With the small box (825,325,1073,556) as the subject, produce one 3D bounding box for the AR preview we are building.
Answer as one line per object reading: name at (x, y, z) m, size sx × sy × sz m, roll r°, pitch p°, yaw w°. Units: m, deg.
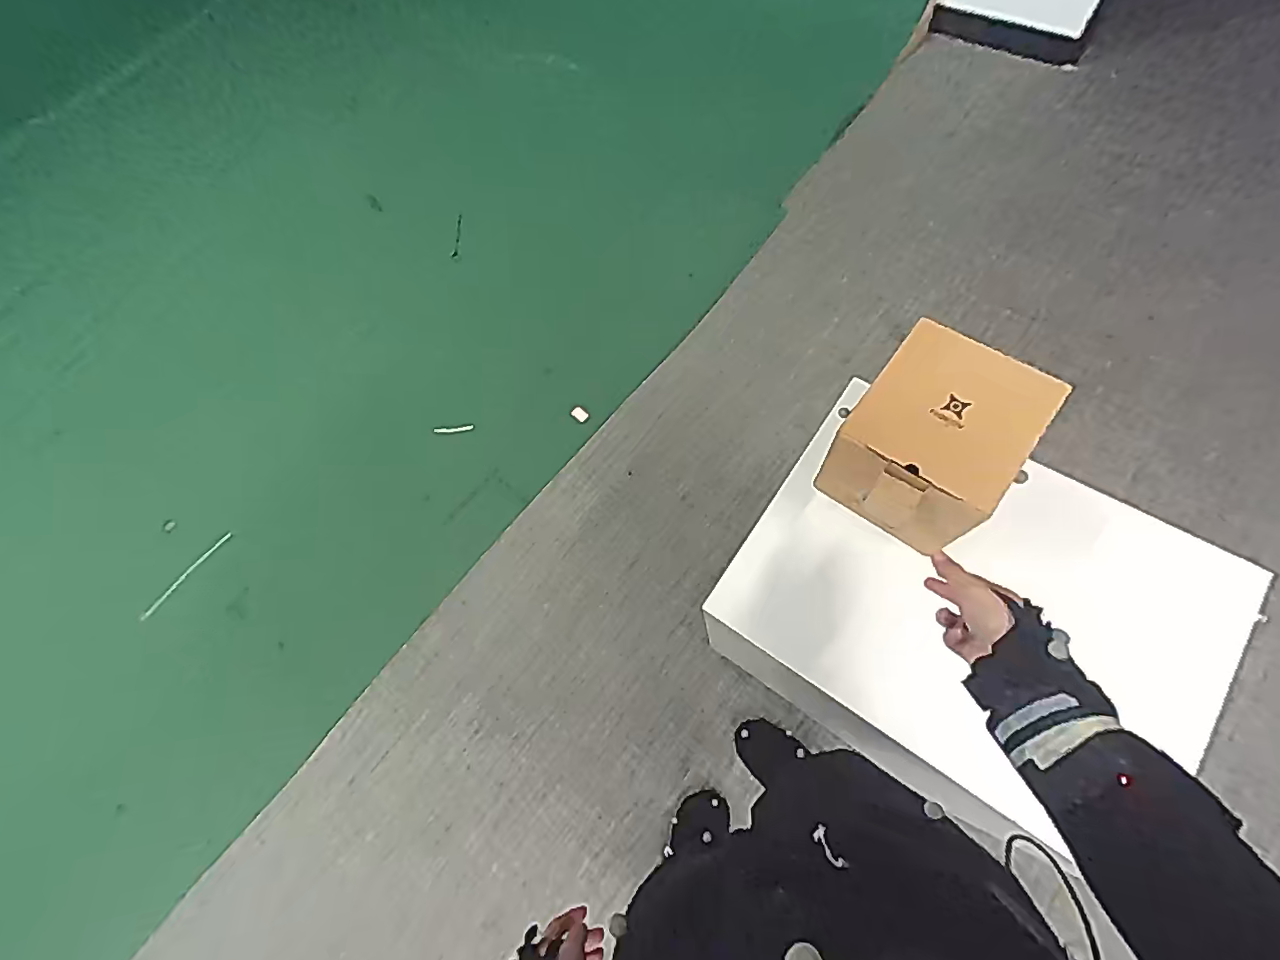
small box at (0.339, -0.037, 0.633) m, size 0.168 × 0.176 × 0.179 m, roll 35°, pitch 78°, yaw 19°
